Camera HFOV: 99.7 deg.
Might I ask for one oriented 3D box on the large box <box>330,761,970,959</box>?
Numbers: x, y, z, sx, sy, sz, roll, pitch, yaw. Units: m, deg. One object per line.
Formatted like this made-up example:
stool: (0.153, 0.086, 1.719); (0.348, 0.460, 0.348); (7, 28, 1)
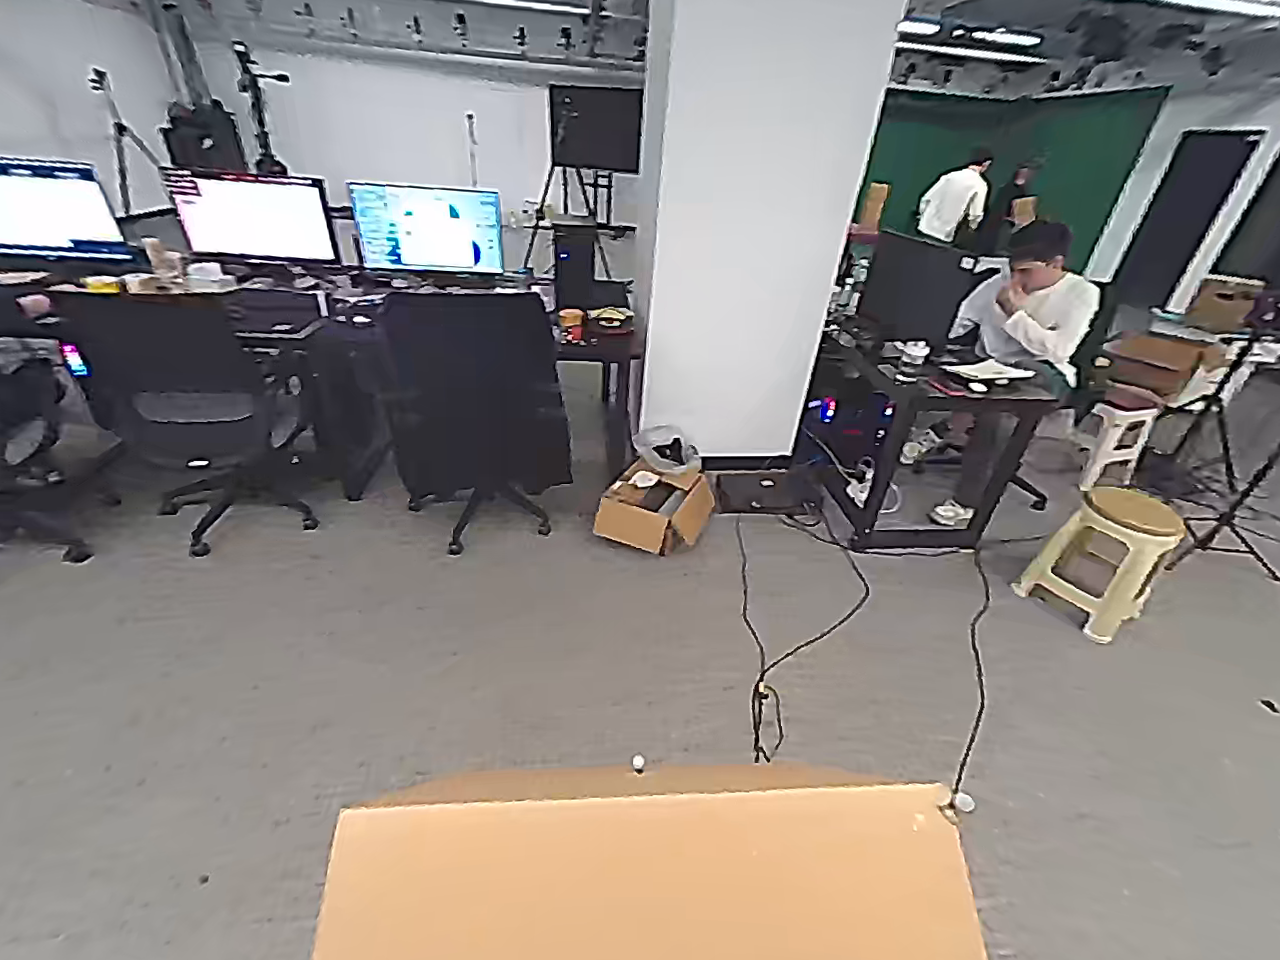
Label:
large box: (0.002, 0.420, 0.443); (0.408, 0.320, 0.320); (0, 67, -6)
